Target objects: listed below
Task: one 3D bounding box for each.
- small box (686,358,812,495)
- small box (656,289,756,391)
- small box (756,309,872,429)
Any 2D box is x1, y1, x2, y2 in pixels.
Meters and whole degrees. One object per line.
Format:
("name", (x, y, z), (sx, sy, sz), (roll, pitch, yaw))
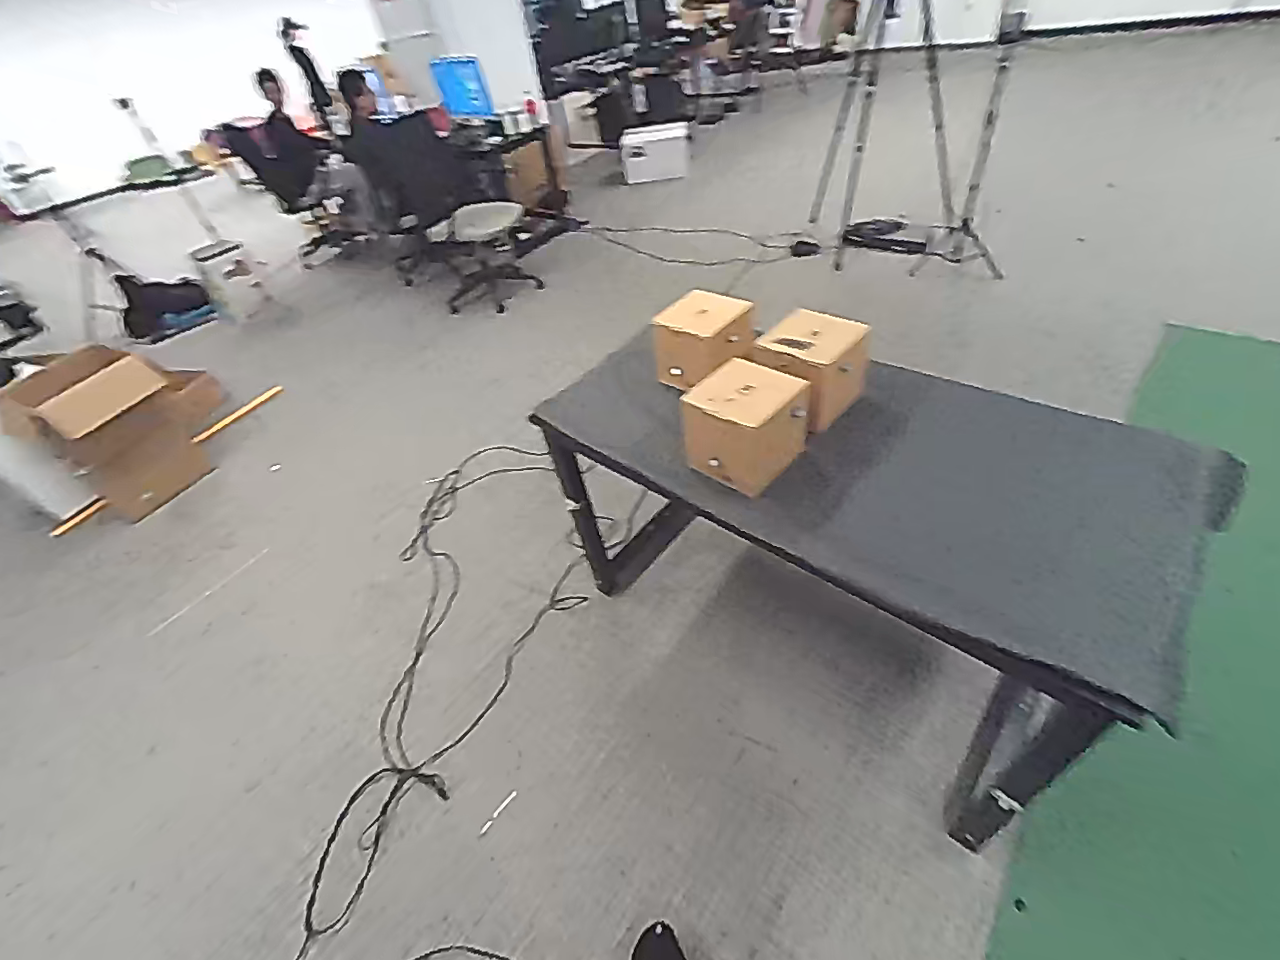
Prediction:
("small box", (0.208, -0.105, 1.047), (0.168, 0.176, 0.179), (30, 56, 35))
("small box", (0.159, -0.326, 1.290), (0.168, 0.176, 0.179), (28, 56, 34))
("small box", (0.366, -0.235, 1.151), (0.168, 0.176, 0.179), (31, 57, 35))
